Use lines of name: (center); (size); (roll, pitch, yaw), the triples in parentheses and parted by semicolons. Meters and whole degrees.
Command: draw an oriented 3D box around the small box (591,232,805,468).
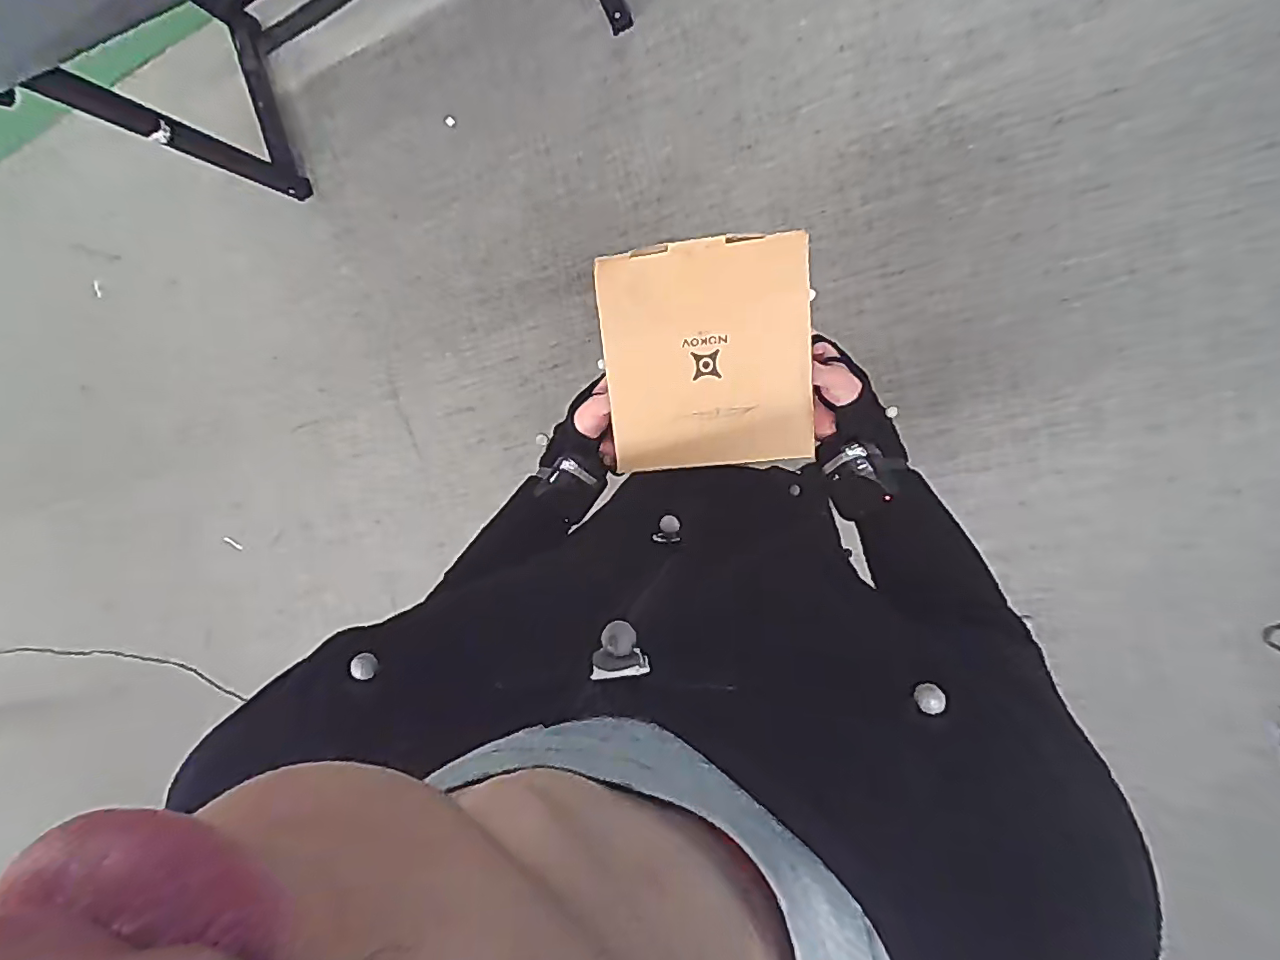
small box: (0.059, -0.118, 0.508); (0.168, 0.176, 0.179); (-3, 106, 10)
